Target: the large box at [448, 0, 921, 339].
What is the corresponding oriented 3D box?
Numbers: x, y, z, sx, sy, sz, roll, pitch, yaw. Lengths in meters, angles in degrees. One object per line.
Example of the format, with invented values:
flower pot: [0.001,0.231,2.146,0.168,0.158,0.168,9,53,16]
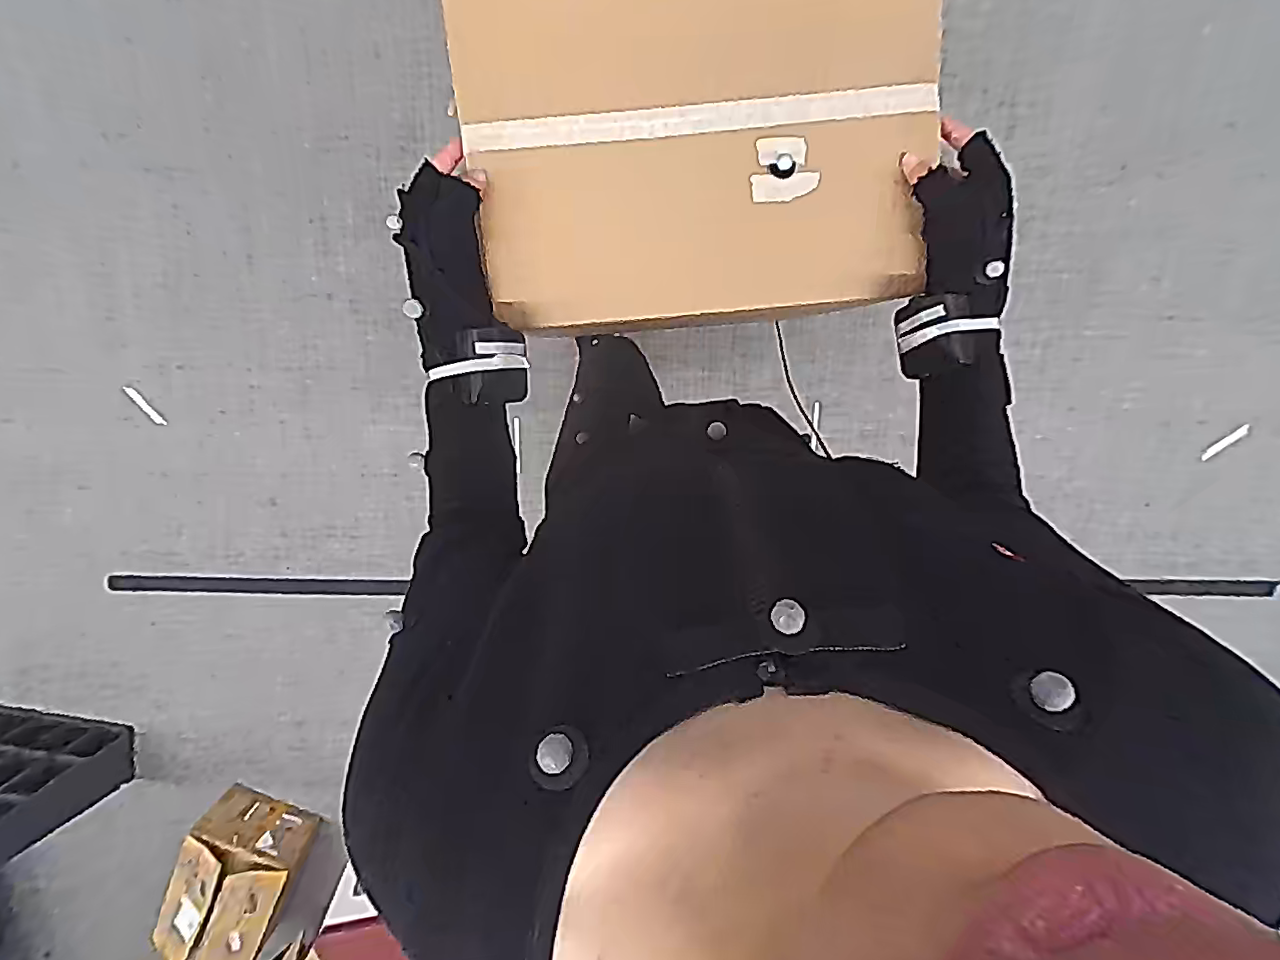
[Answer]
large box: [0.041,-0.346,0.619,0.408,0.320,0.320,-5,103,-1]
